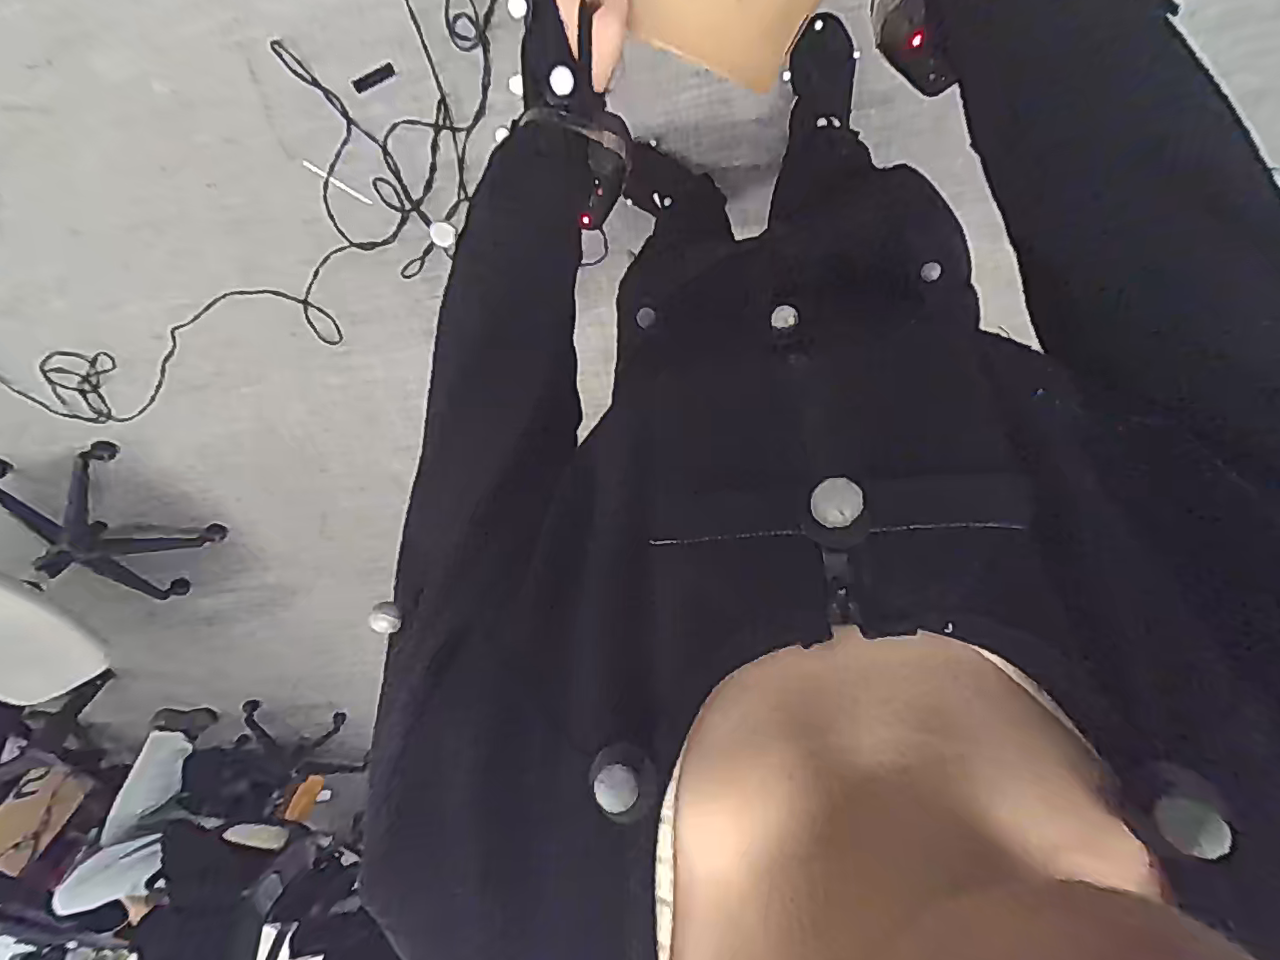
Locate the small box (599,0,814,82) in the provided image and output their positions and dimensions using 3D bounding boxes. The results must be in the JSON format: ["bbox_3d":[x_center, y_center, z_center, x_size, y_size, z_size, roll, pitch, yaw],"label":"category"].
[{"bbox_3d":[0.061,-0.462,0.411,0.179,0.176,0.168,11,147,-19],"label":"small box"}]
